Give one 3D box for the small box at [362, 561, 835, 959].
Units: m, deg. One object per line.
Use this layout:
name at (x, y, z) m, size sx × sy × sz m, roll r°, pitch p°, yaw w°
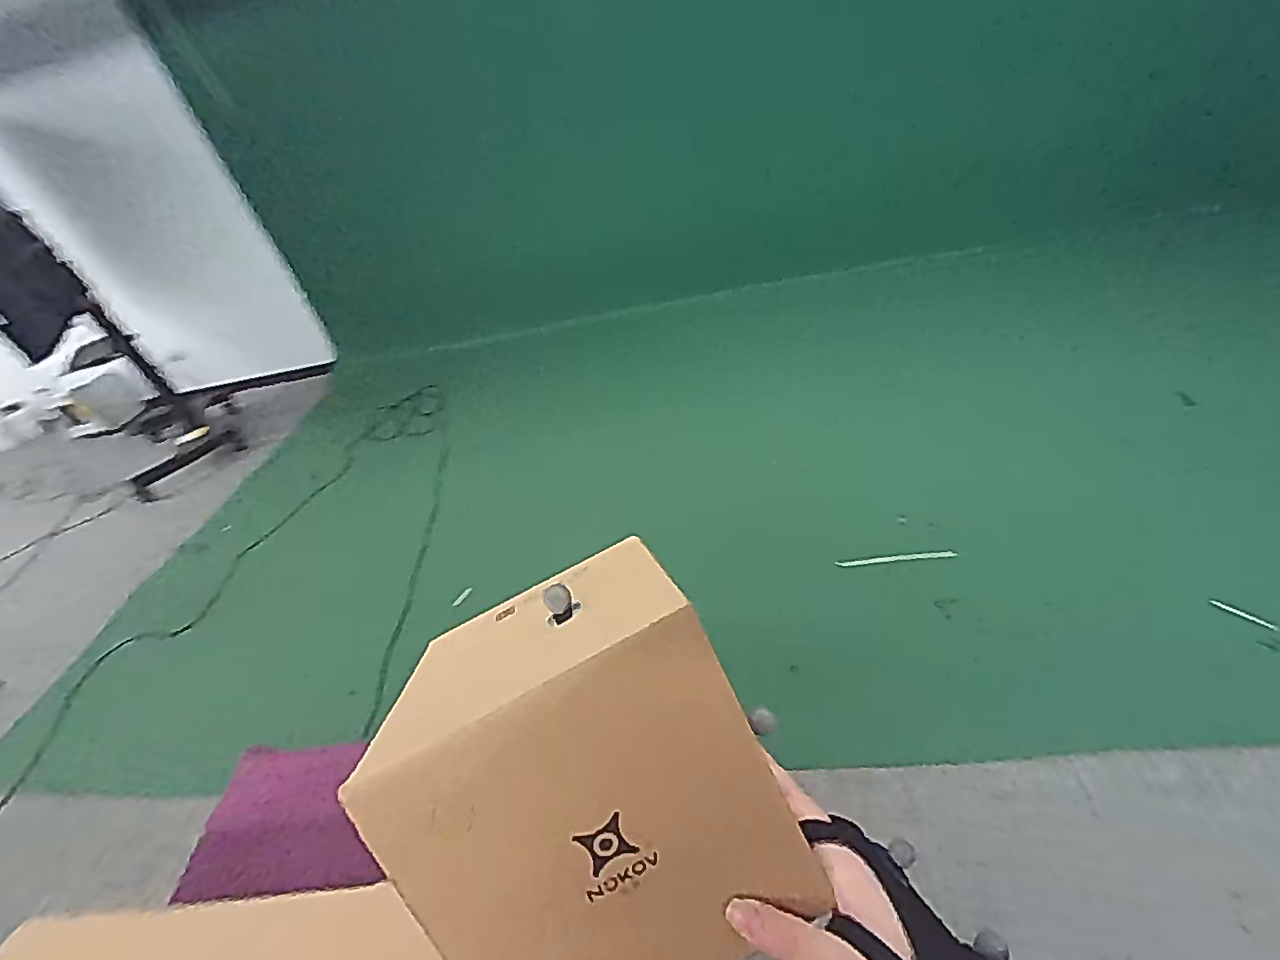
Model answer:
small box at (-0.024, 0.164, 0.325) m, size 0.168 × 0.179 × 0.176 m, roll -27°, pitch 10°, yaw -5°
